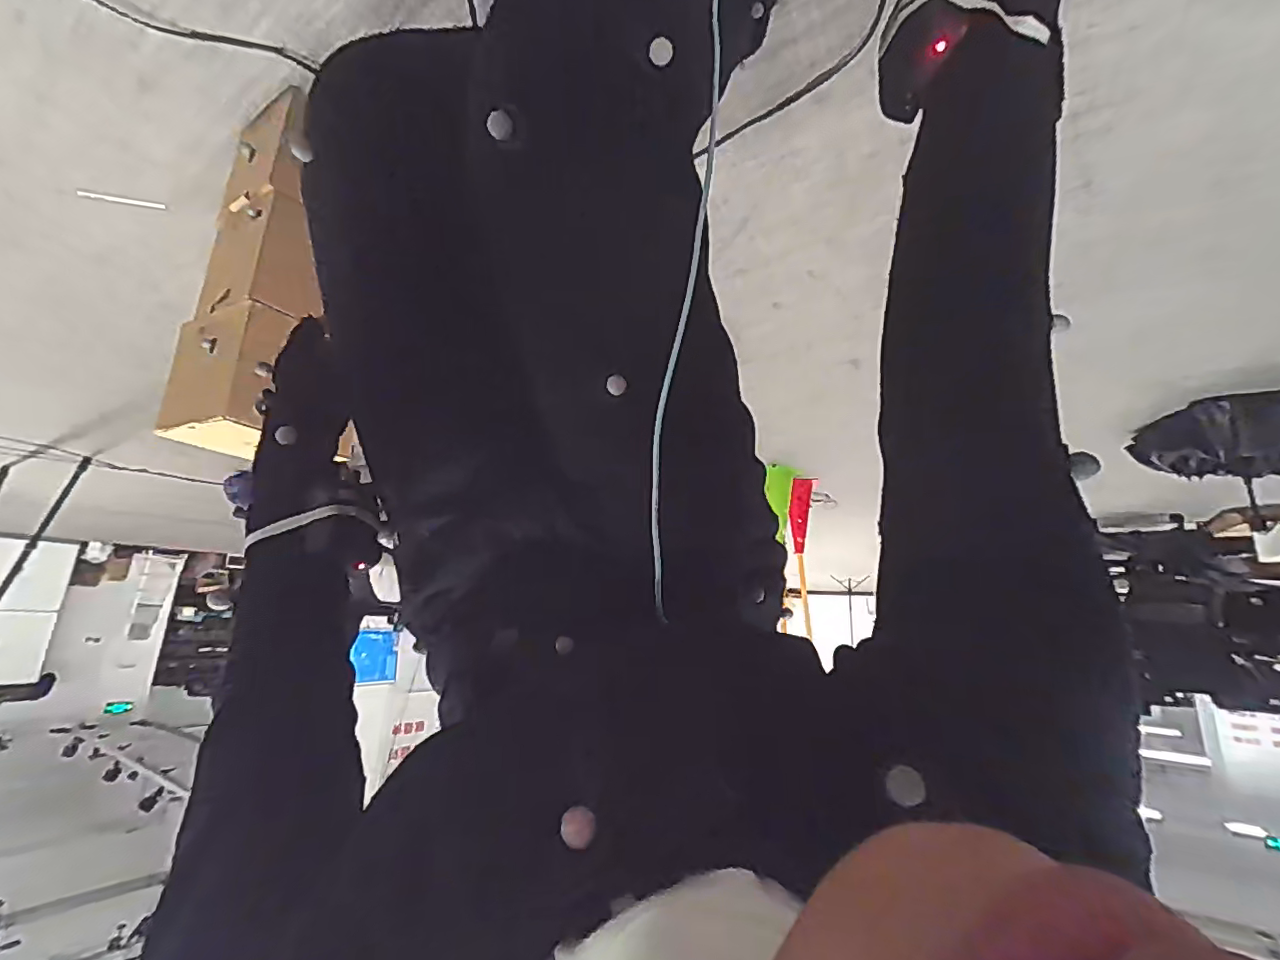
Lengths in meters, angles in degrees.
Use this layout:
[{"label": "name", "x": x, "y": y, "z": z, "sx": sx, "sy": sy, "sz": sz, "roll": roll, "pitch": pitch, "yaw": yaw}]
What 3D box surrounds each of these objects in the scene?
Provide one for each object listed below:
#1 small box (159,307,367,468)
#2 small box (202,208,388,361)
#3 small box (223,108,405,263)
[{"label": "small box", "x": -0.532, "y": -0.124, "z": 0.785, "sx": 0.168, "sy": 0.176, "sz": 0.179, "roll": -4, "pitch": 163, "yaw": 25}, {"label": "small box", "x": -0.517, "y": -0.281, "z": 0.823, "sx": 0.168, "sy": 0.176, "sz": 0.179, "roll": -6, "pitch": 164, "yaw": 30}, {"label": "small box", "x": -0.508, "y": -0.444, "z": 0.859, "sx": 0.168, "sy": 0.176, "sz": 0.179, "roll": -3, "pitch": 163, "yaw": 34}]
